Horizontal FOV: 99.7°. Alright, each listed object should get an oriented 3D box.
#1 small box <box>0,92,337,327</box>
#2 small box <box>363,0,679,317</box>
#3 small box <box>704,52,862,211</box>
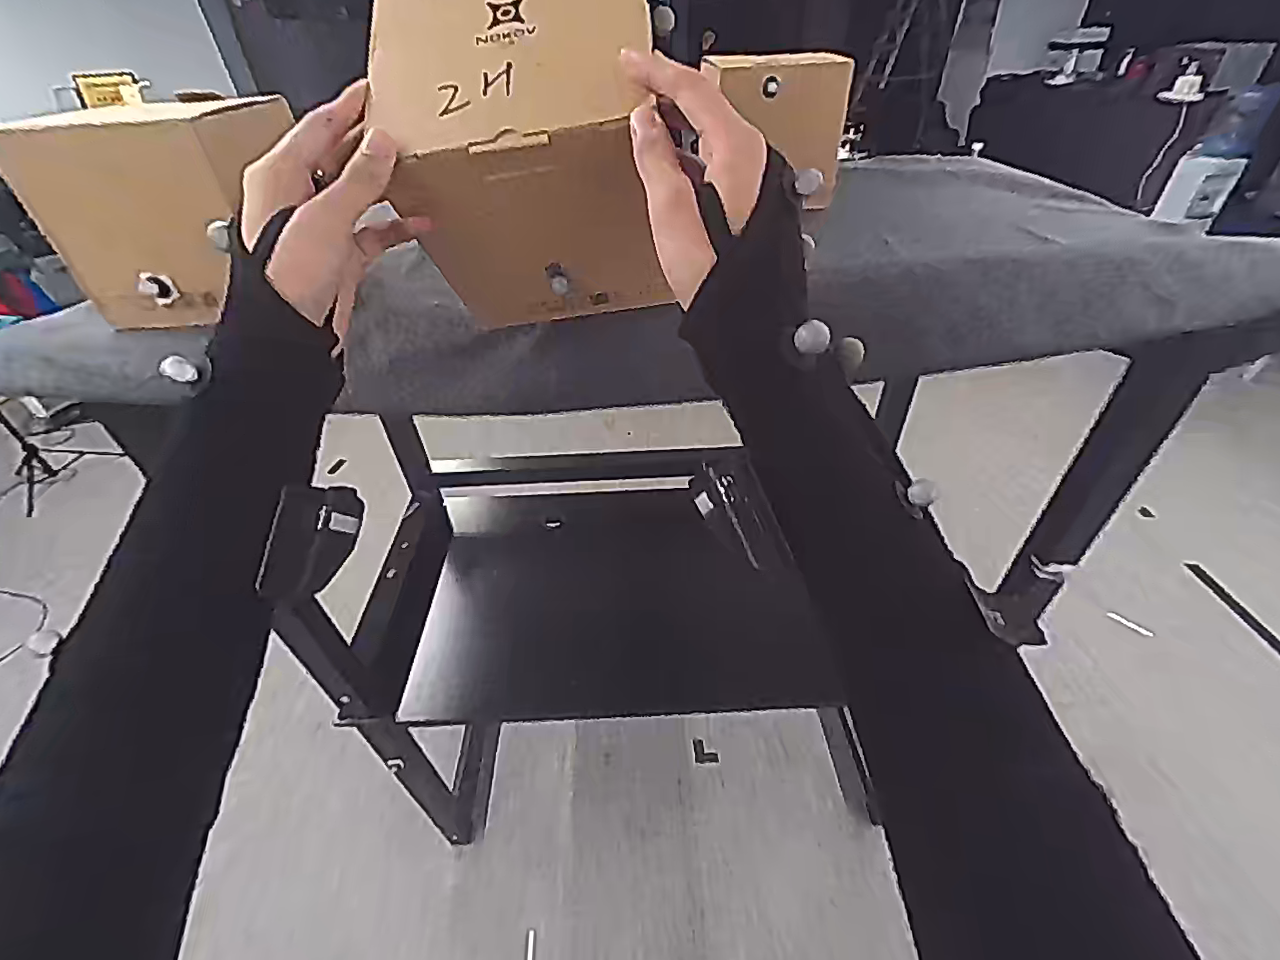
[{"bbox_3d":[-0.421,-0.260,0.516,0.168,0.176,0.179,-5,39,-2],"label":"small box"},{"bbox_3d":[-0.063,-0.245,0.383,0.168,0.176,0.179,-7,72,5],"label":"small box"},{"bbox_3d":[0.182,-0.485,0.752,0.168,0.176,0.179,-4,40,0],"label":"small box"}]
